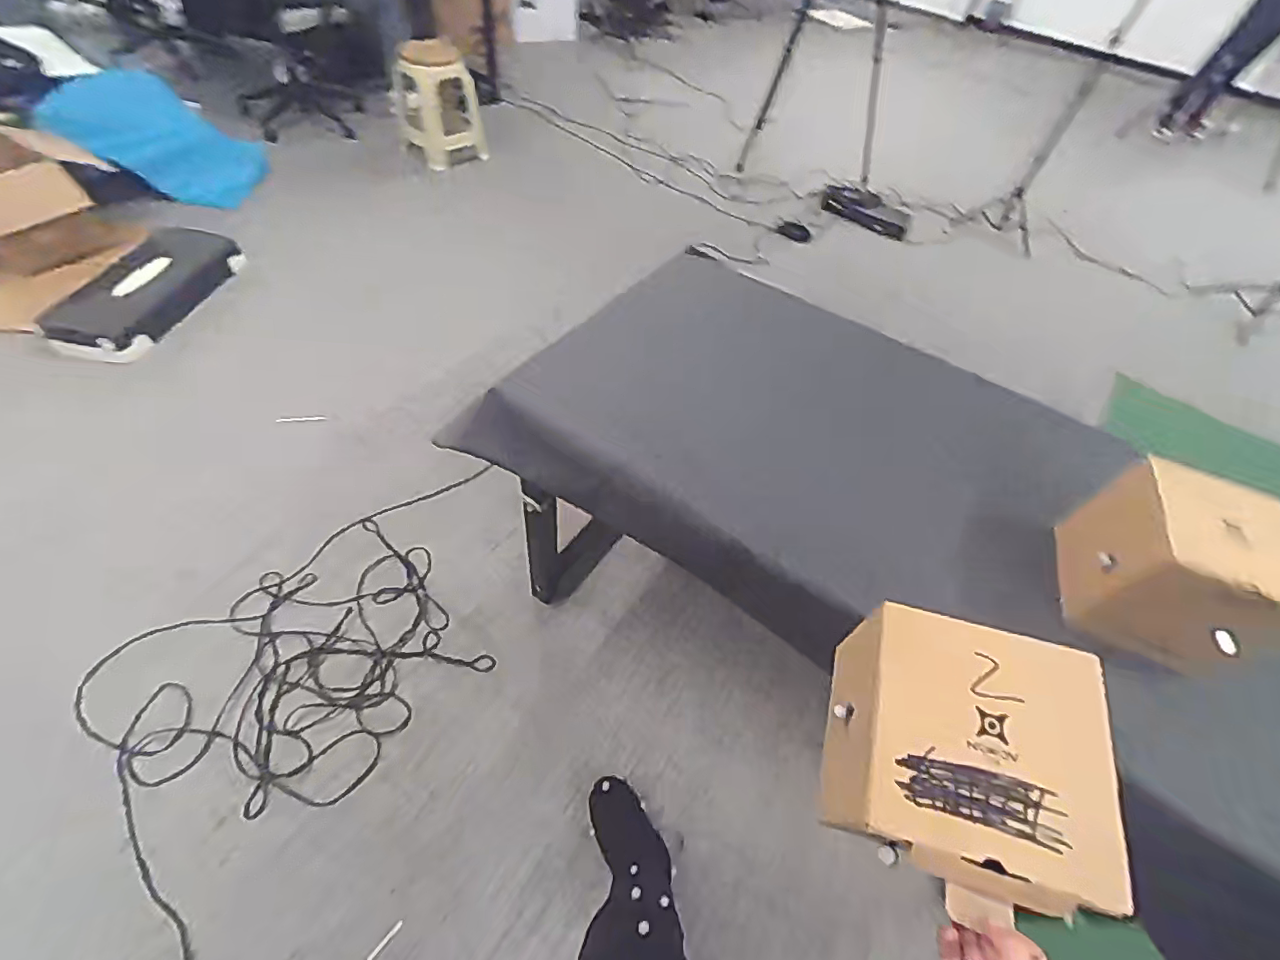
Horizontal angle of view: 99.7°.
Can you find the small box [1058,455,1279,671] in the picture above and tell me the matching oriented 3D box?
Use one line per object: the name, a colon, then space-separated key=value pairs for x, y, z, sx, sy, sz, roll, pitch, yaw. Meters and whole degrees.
small box: x=0.668 y=0.108 z=0.675 sx=0.168 sy=0.176 sz=0.179 roll=24 pitch=51 yaw=9
